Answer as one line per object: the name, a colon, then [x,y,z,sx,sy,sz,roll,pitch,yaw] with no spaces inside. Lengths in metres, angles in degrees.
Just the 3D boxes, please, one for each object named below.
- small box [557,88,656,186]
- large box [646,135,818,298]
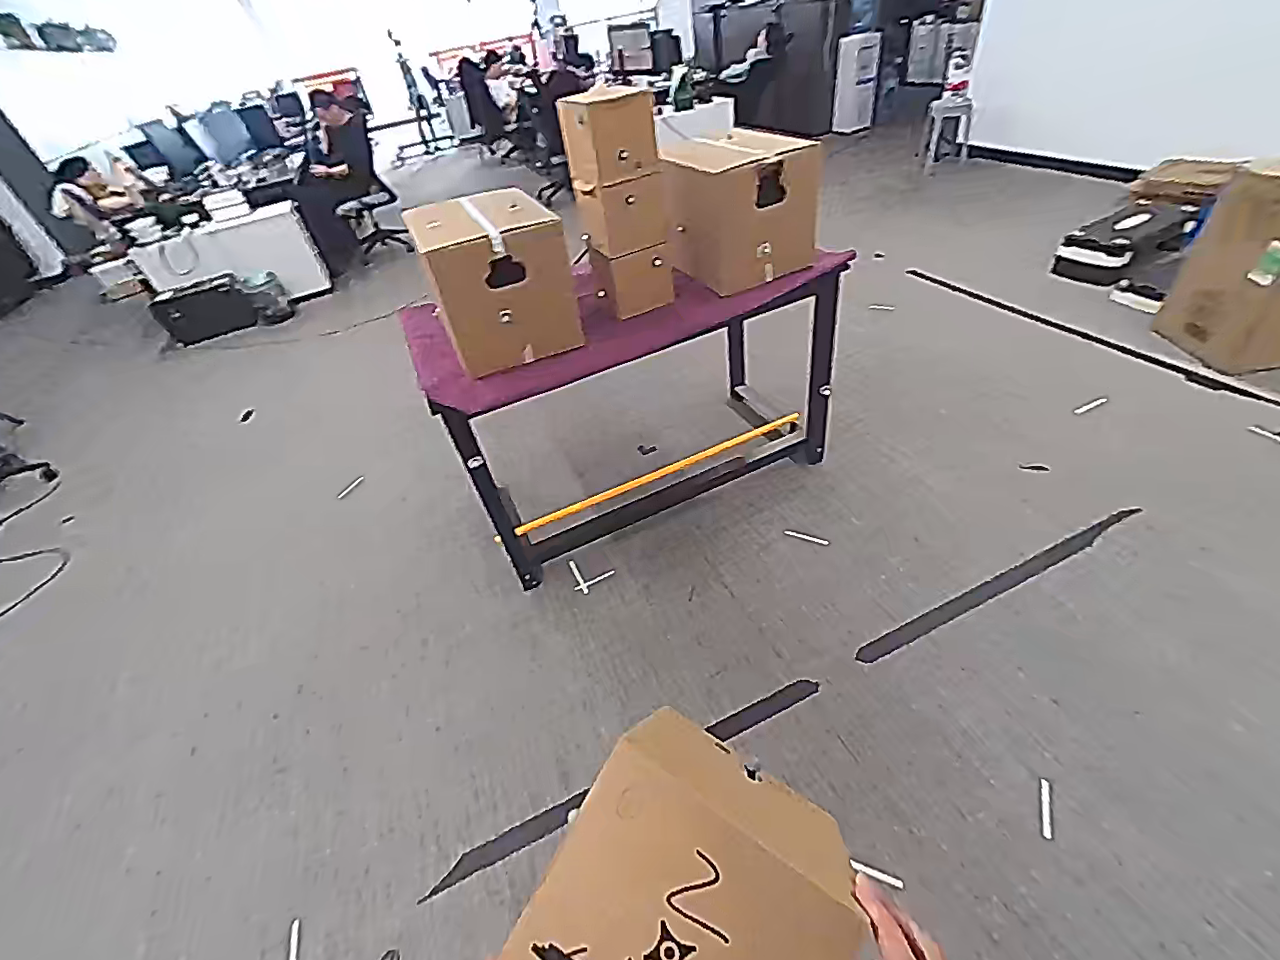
small box: [-0.077,-0.813,1.284,0.168,0.176,0.179,-26,44,-17]
large box: [0.254,-0.765,1.553,0.320,0.320,0.408,-23,41,-14]
